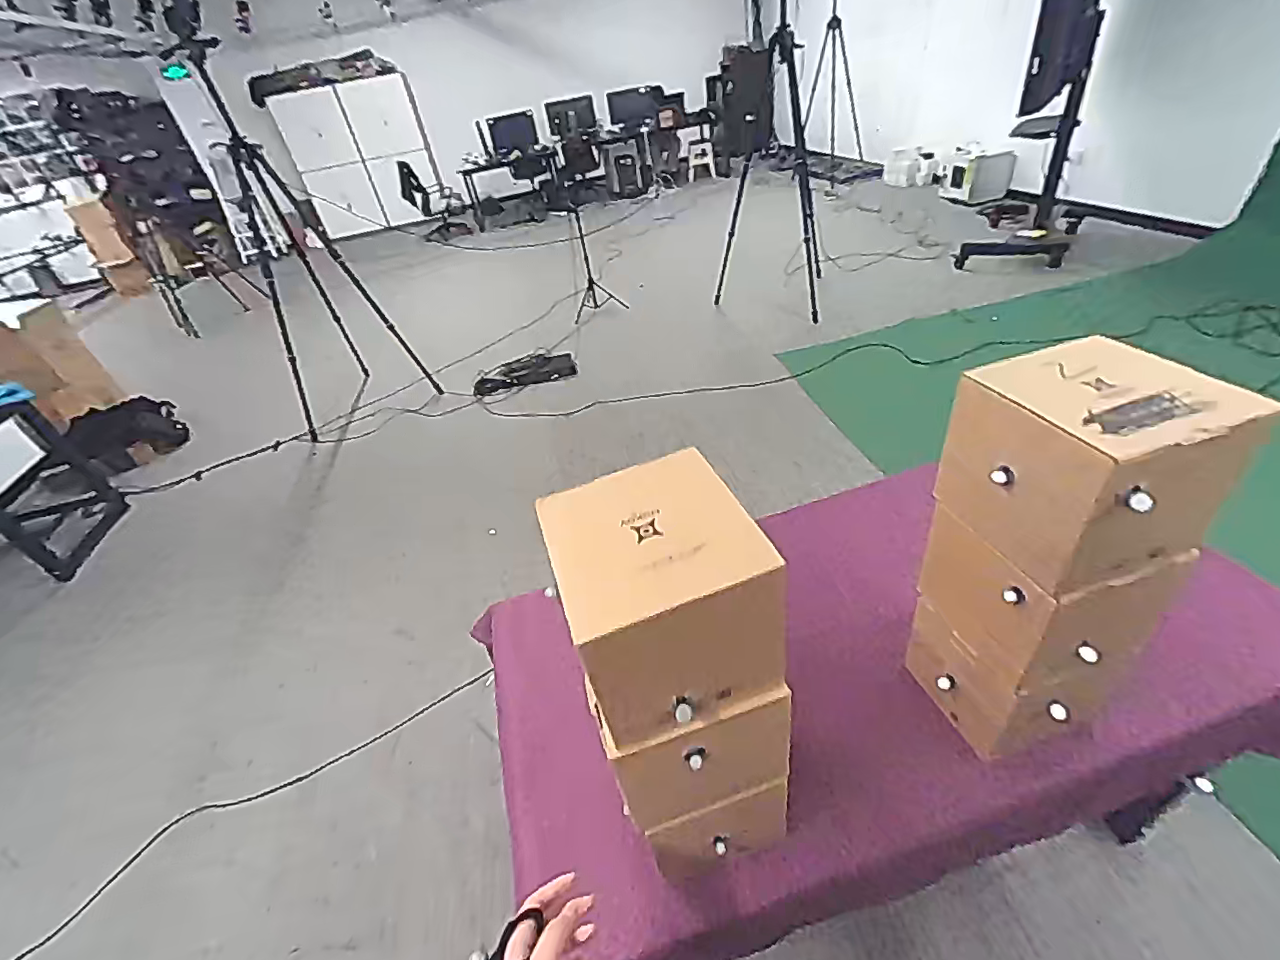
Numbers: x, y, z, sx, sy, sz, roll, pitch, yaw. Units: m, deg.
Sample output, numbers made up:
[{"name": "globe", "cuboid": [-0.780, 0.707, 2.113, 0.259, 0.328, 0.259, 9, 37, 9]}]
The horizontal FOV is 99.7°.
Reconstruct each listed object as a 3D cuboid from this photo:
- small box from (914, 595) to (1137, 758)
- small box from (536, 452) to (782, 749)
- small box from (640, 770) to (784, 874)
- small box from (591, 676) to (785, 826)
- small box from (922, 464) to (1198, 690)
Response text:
[{"name": "small box", "cuboid": [0.500, 0.242, 0.735, 0.179, 0.176, 0.168, -18, 38, -7]}, {"name": "small box", "cuboid": [0.015, 0.106, 0.499, 0.168, 0.176, 0.179, -19, 38, -8]}, {"name": "small box", "cuboid": [0.072, 0.366, 0.690, 0.168, 0.176, 0.179, -16, 37, -7]}, {"name": "small box", "cuboid": [0.044, 0.238, 0.590, 0.179, 0.176, 0.168, -17, 37, -7]}, {"name": "small box", "cuboid": [0.468, 0.112, 0.642, 0.168, 0.176, 0.179, -16, 38, -7]}]
